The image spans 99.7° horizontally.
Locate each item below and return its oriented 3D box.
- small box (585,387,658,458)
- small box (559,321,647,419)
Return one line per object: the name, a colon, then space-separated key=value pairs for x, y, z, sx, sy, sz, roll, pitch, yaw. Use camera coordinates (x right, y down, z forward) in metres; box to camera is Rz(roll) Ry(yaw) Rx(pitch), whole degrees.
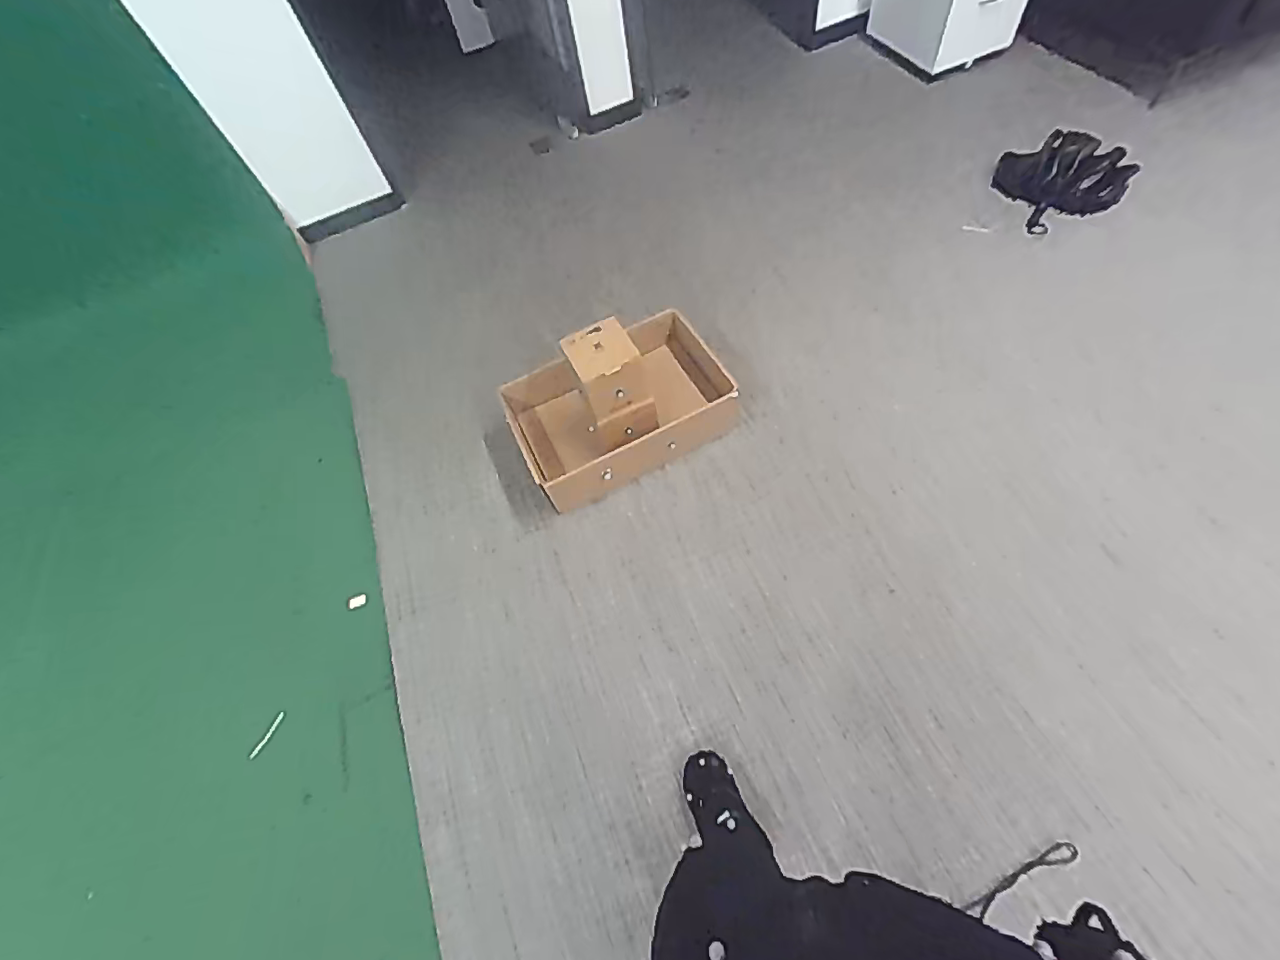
small box: x=-0.057 y=-0.196 z=1.591 sx=0.179 sy=0.176 sz=0.168 roll=-27 pitch=59 yaw=-7
small box: x=-0.095 y=-0.288 z=1.461 sx=0.168 sy=0.176 sz=0.179 roll=-26 pitch=60 yaw=-6
